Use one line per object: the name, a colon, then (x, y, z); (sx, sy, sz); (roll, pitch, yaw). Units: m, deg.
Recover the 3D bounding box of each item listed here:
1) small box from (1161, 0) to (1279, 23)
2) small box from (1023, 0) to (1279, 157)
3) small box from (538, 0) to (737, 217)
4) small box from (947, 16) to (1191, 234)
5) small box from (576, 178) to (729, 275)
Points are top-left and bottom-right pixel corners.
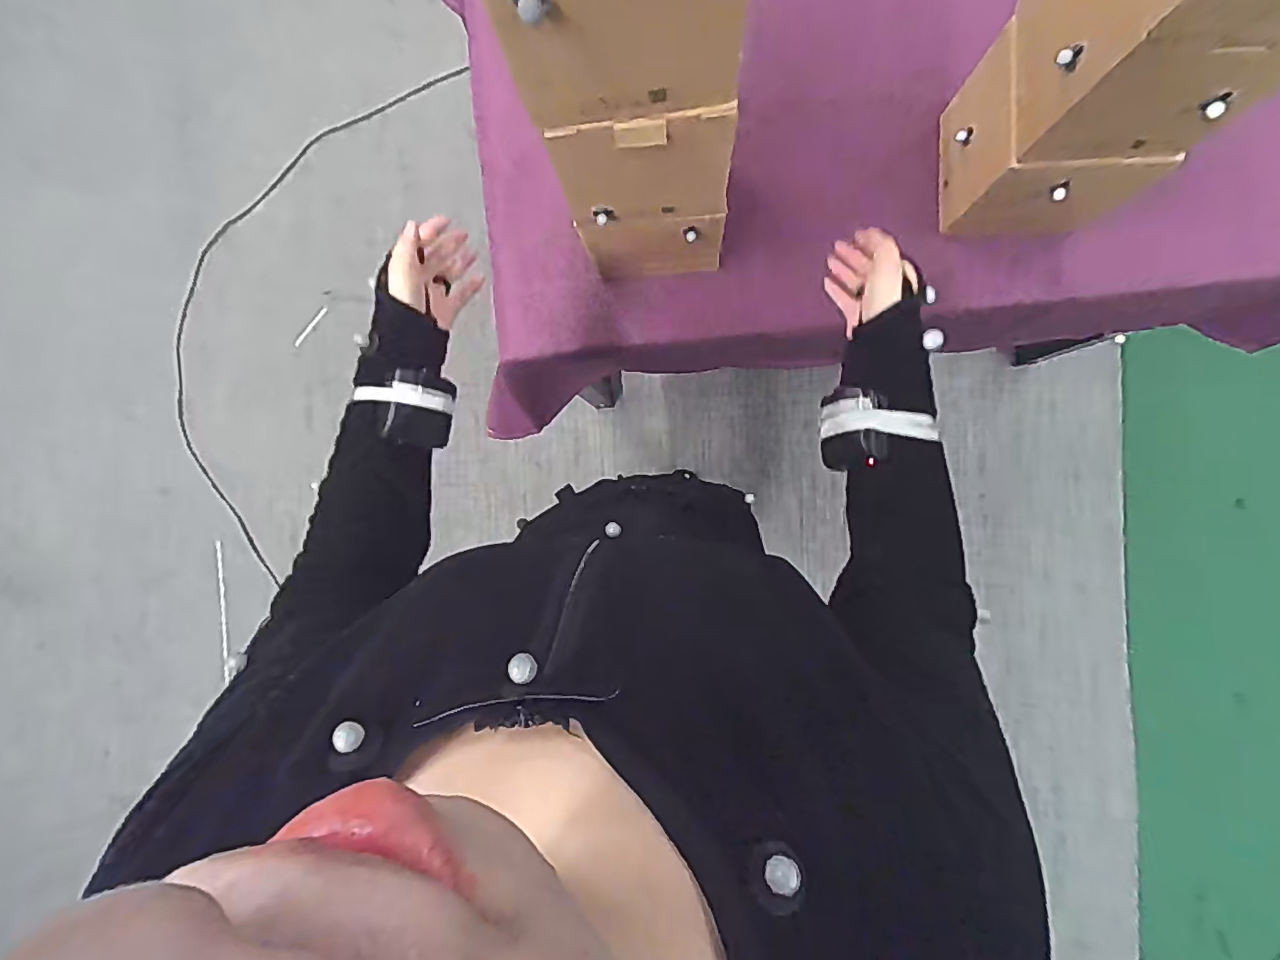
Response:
small box: (0.460, -0.416, 0.320); (0.168, 0.176, 0.179); (0, 91, 4)
small box: (0.478, -0.417, 0.483); (0.168, 0.176, 0.179); (1, 90, 5)
small box: (0.003, -0.378, 0.528); (0.168, 0.176, 0.179); (-3, 88, 4)
small box: (0.493, -0.409, 0.646); (0.179, 0.176, 0.168); (2, 91, 5)
small box: (0.019, -0.375, 0.691); (0.179, 0.176, 0.168); (-3, 90, 4)
